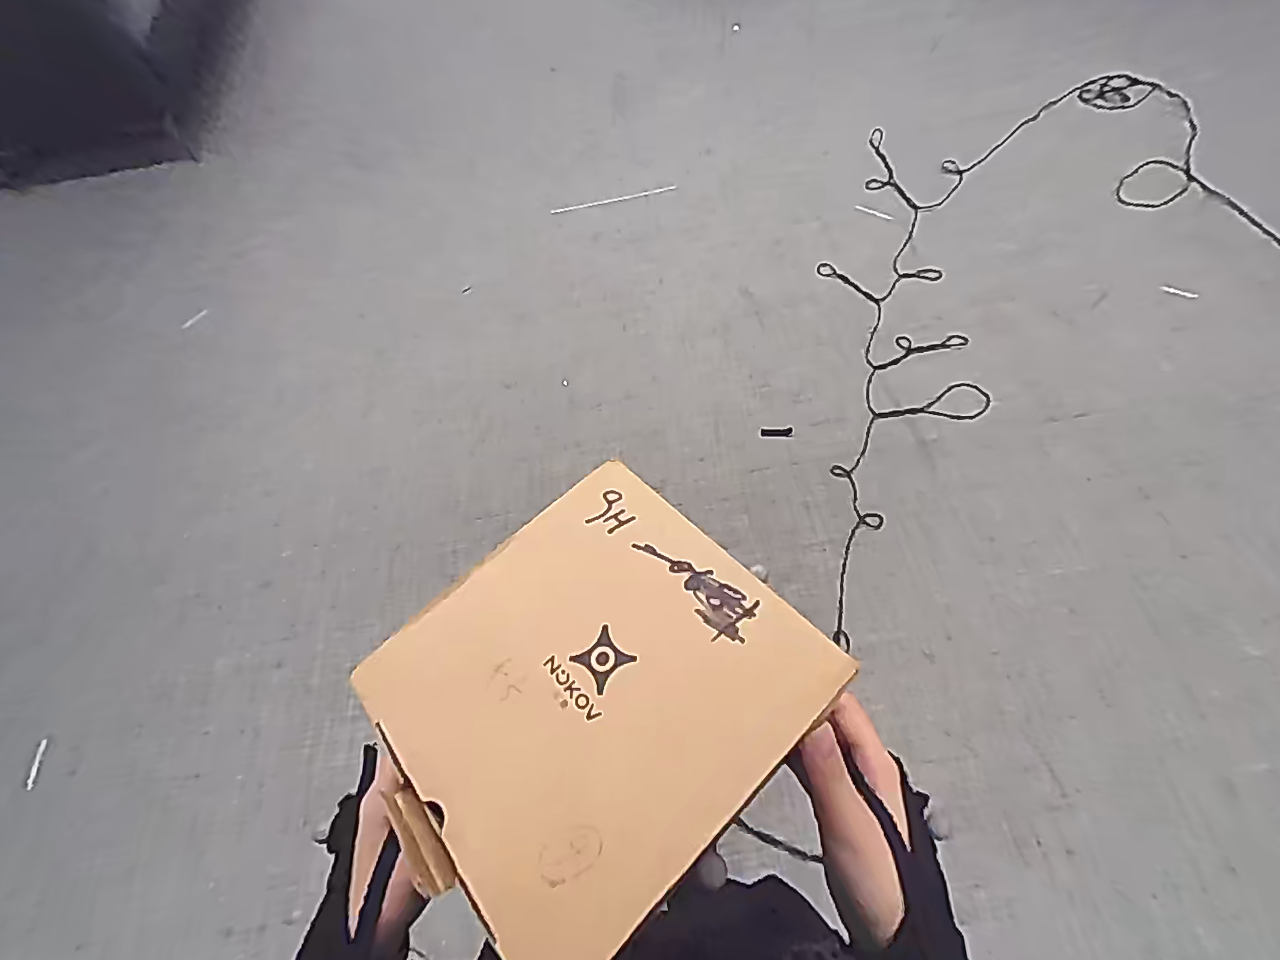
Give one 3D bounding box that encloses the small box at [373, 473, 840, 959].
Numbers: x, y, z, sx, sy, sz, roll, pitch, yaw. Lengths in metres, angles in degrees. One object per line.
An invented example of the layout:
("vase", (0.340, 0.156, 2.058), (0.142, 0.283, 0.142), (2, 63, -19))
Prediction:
("small box", (-0.010, 0.137, 0.325), (0.179, 0.176, 0.168), (-41, 60, -16))
